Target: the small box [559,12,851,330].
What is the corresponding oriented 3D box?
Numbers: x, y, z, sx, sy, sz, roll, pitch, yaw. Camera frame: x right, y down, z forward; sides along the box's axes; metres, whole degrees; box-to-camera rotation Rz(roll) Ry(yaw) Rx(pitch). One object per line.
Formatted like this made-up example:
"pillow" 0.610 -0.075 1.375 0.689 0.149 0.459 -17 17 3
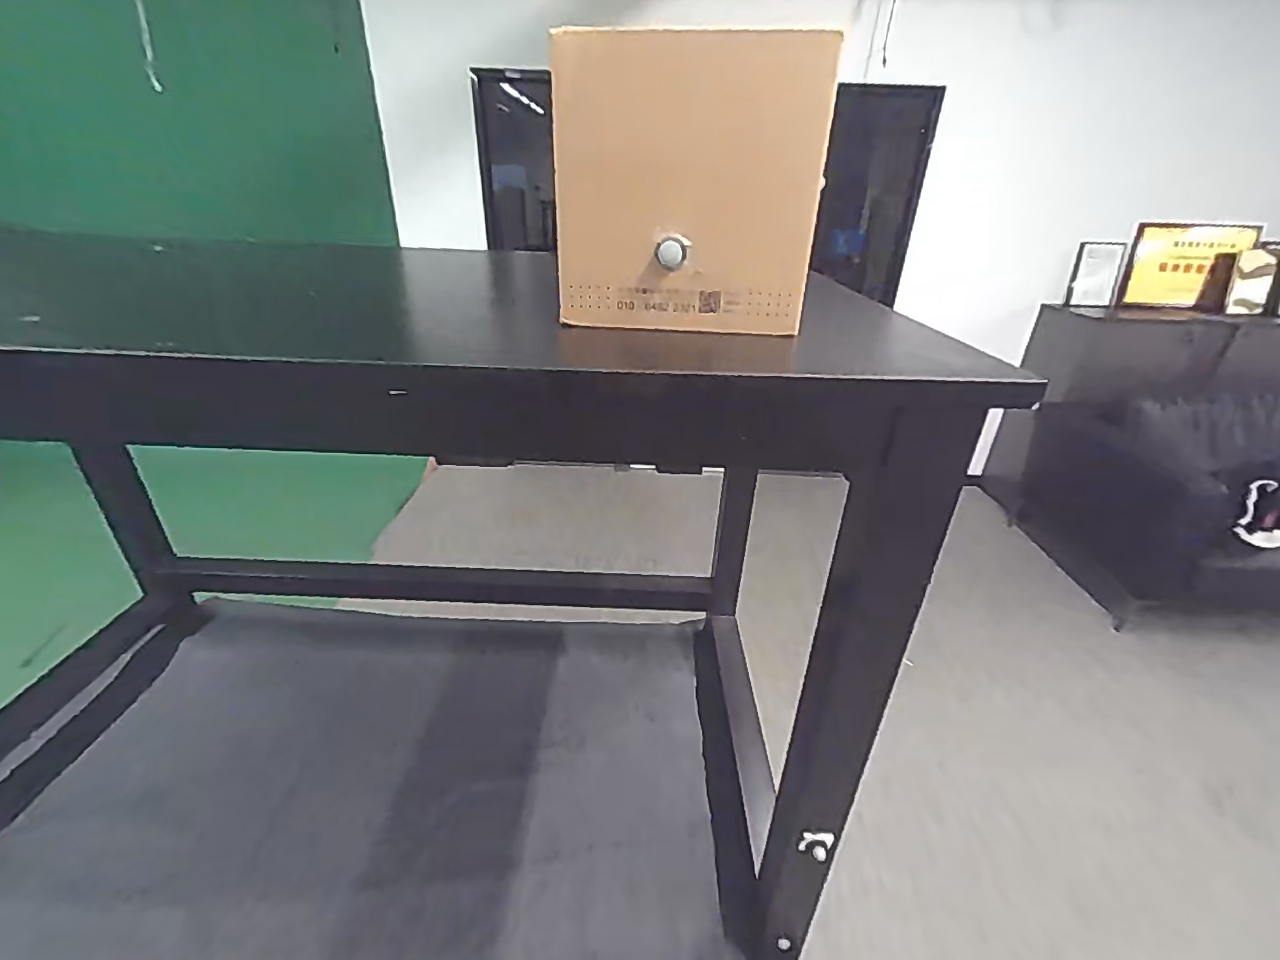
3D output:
"small box" 0.041 -0.220 0.407 0.168 0.176 0.179 4 29 5
